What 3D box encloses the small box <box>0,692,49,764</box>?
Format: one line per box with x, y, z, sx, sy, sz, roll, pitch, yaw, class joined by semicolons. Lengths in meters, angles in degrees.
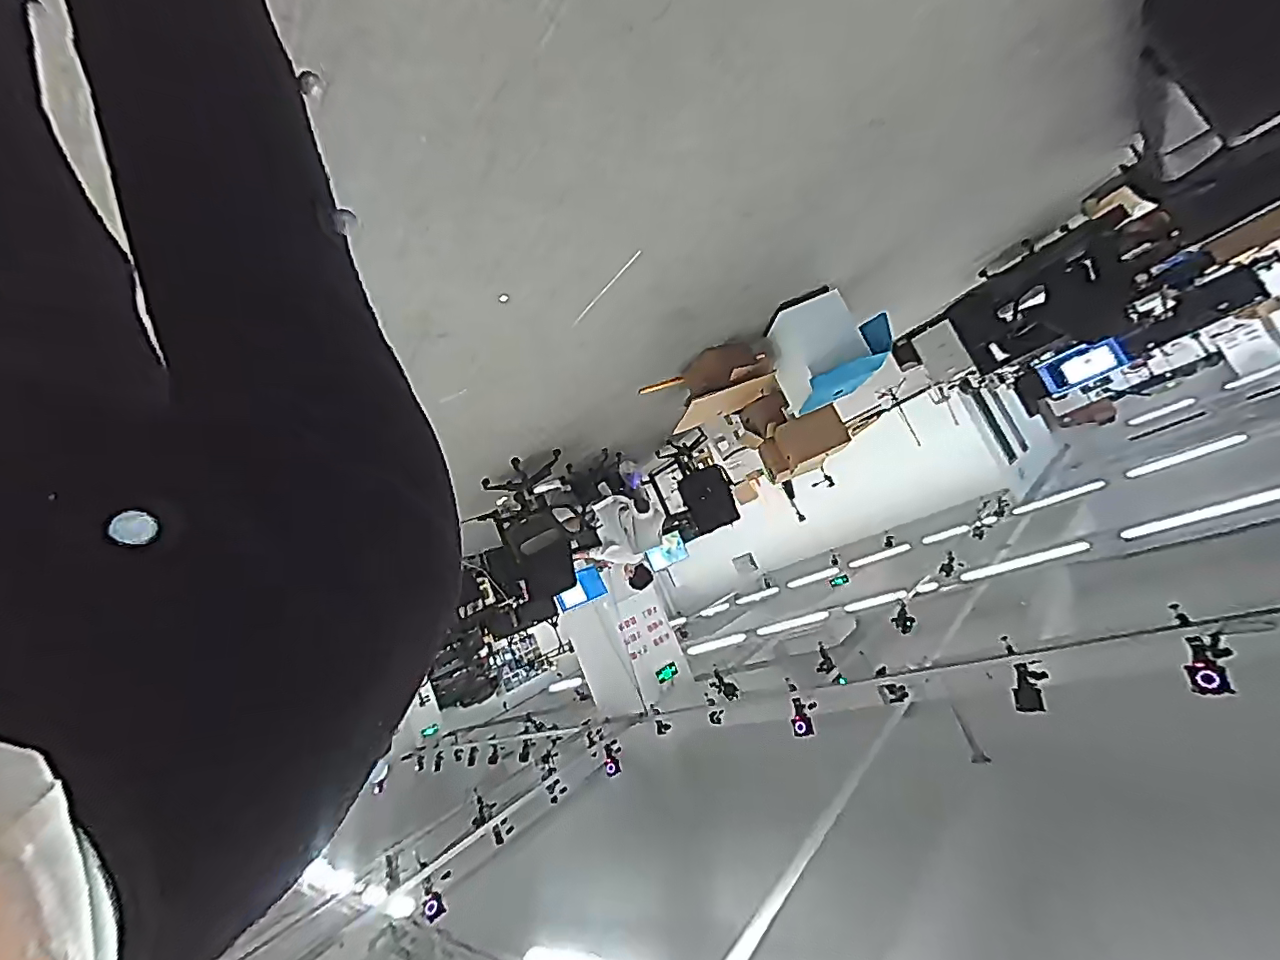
-1.908;0.751;1.611;0.168;0.176;0.179;-16;167;-46;small box
